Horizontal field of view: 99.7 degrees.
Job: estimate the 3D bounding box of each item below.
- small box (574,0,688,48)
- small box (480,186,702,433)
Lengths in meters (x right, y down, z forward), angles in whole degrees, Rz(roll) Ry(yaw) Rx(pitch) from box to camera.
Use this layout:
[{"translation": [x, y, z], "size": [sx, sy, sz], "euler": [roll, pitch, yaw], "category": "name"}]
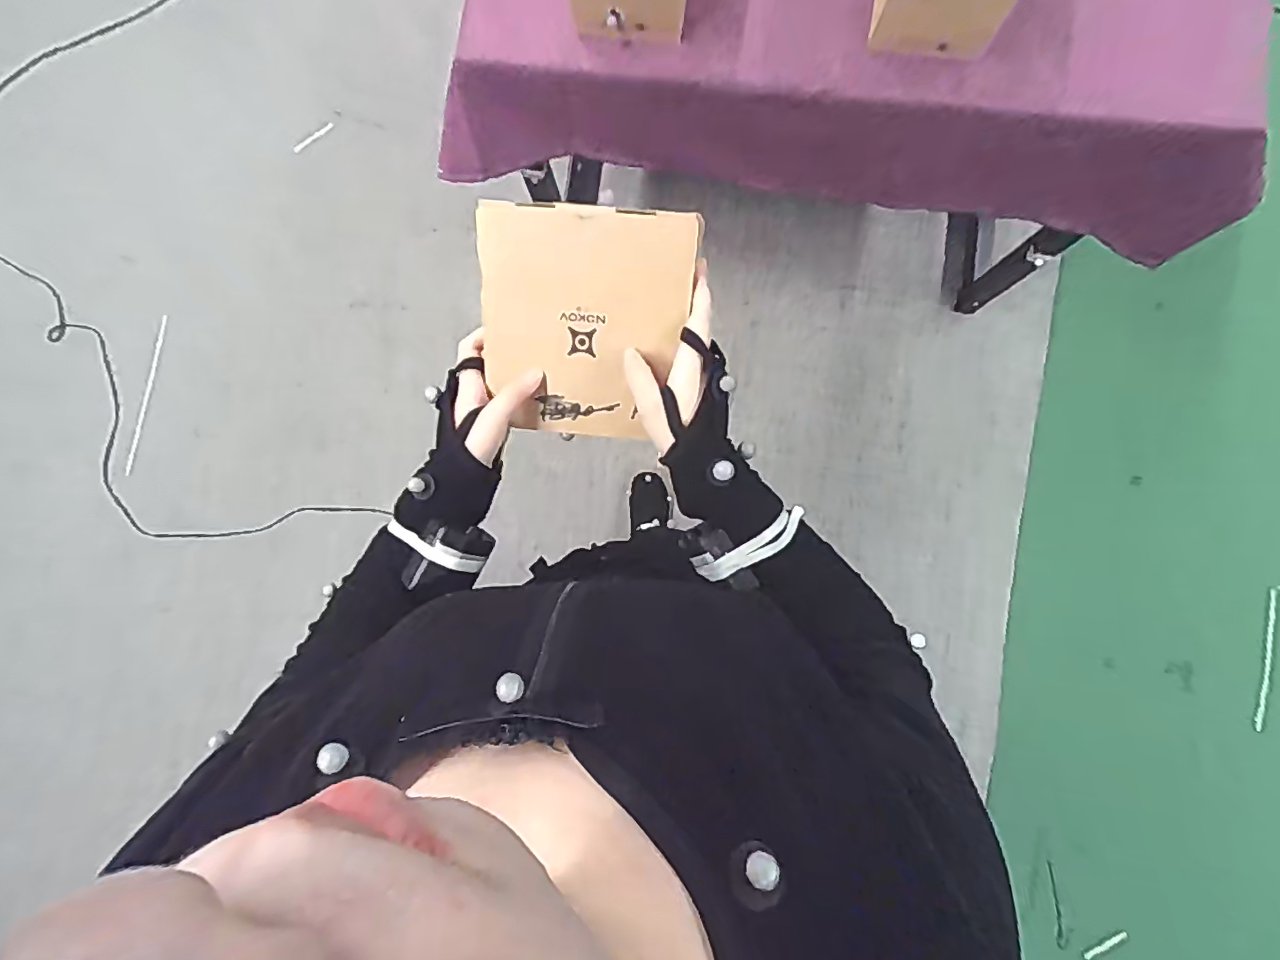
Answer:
[{"translation": [-0.009, -0.771, 0.765], "size": [0.168, 0.176, 0.179], "euler": [9, 86, 4], "category": "small box"}, {"translation": [-0.034, -0.158, 0.496], "size": [0.168, 0.176, 0.179], "euler": [6, 114, 6], "category": "small box"}]
